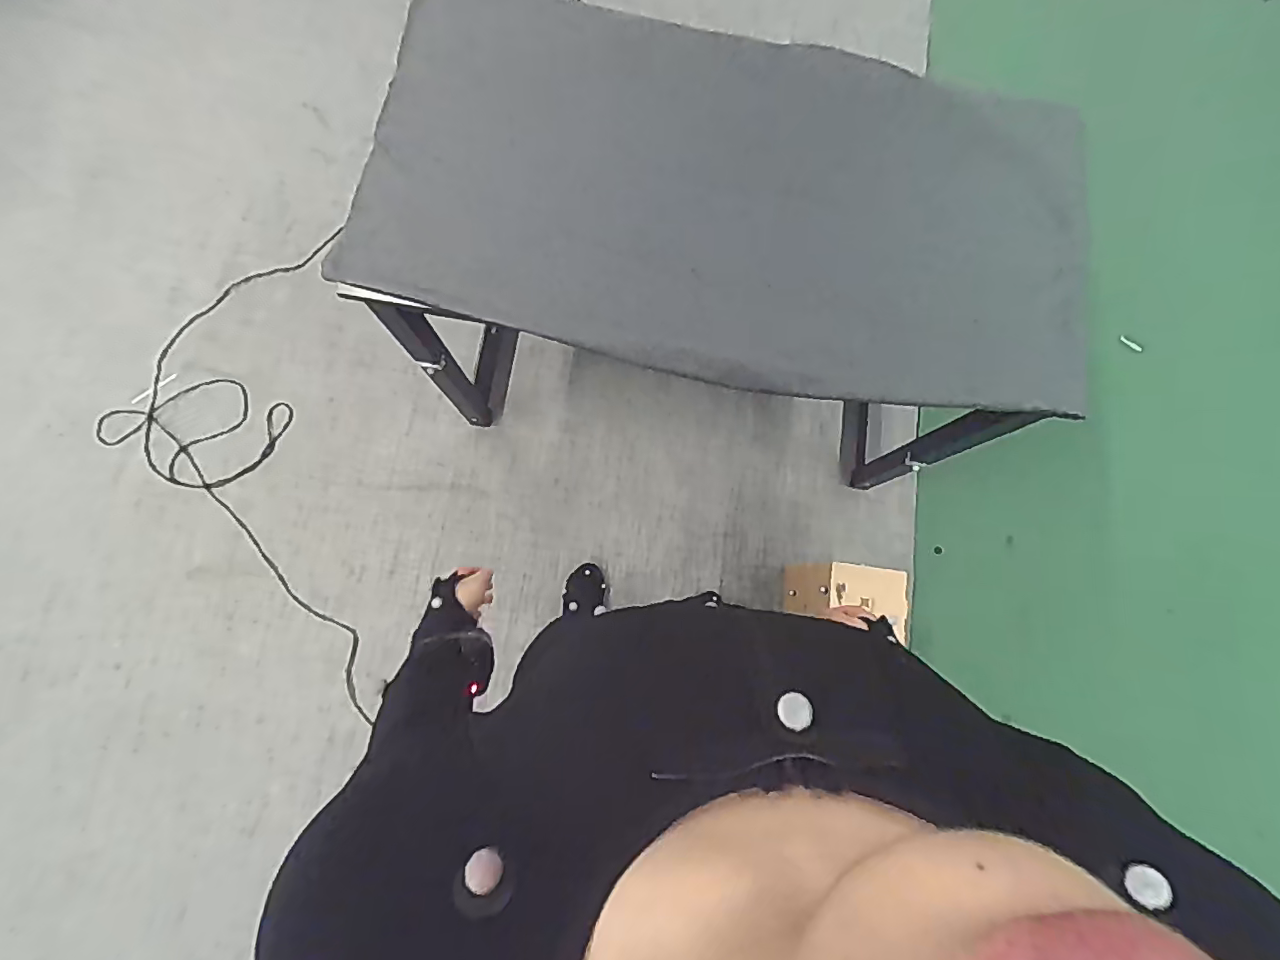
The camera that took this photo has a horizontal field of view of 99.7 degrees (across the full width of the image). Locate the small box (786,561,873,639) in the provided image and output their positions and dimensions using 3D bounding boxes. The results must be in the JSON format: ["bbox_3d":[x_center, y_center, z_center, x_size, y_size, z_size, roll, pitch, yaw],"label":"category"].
[{"bbox_3d":[0.492,0.313,1.422,0.168,0.176,0.179,7,78,-1],"label":"small box"}]
